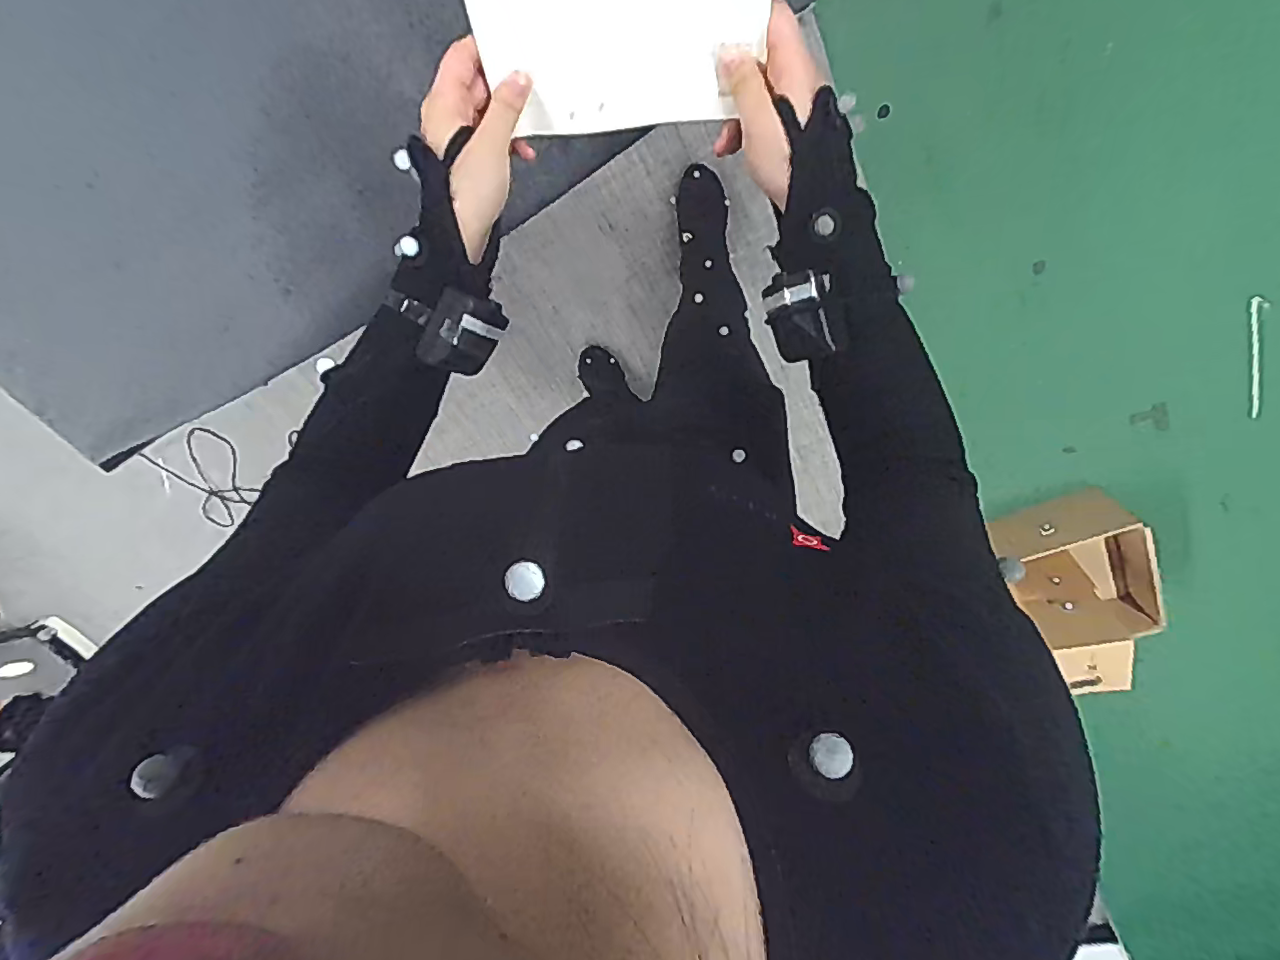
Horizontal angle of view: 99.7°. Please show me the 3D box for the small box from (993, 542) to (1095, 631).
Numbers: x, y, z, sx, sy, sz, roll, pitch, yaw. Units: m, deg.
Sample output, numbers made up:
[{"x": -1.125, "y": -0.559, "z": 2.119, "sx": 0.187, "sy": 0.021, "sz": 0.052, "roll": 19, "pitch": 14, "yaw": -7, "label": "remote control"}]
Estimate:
[{"x": 1.102, "y": 0.292, "z": 1.493, "sx": 0.179, "sy": 0.176, "sz": 0.168, "roll": -12, "pitch": 121, "yaw": 16, "label": "small box"}]

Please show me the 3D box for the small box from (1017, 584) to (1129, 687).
[{"x": 1.078, "y": 0.389, "z": 1.361, "sx": 0.168, "sy": 0.176, "sz": 0.179, "roll": -15, "pitch": 119, "yaw": 17, "label": "small box"}]

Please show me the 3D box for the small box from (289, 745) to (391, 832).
[{"x": -0.905, "y": 0.938, "z": 1.647, "sx": 0.179, "sy": 0.176, "sz": 0.168, "roll": -20, "pitch": 118, "yaw": 20, "label": "small box"}]
